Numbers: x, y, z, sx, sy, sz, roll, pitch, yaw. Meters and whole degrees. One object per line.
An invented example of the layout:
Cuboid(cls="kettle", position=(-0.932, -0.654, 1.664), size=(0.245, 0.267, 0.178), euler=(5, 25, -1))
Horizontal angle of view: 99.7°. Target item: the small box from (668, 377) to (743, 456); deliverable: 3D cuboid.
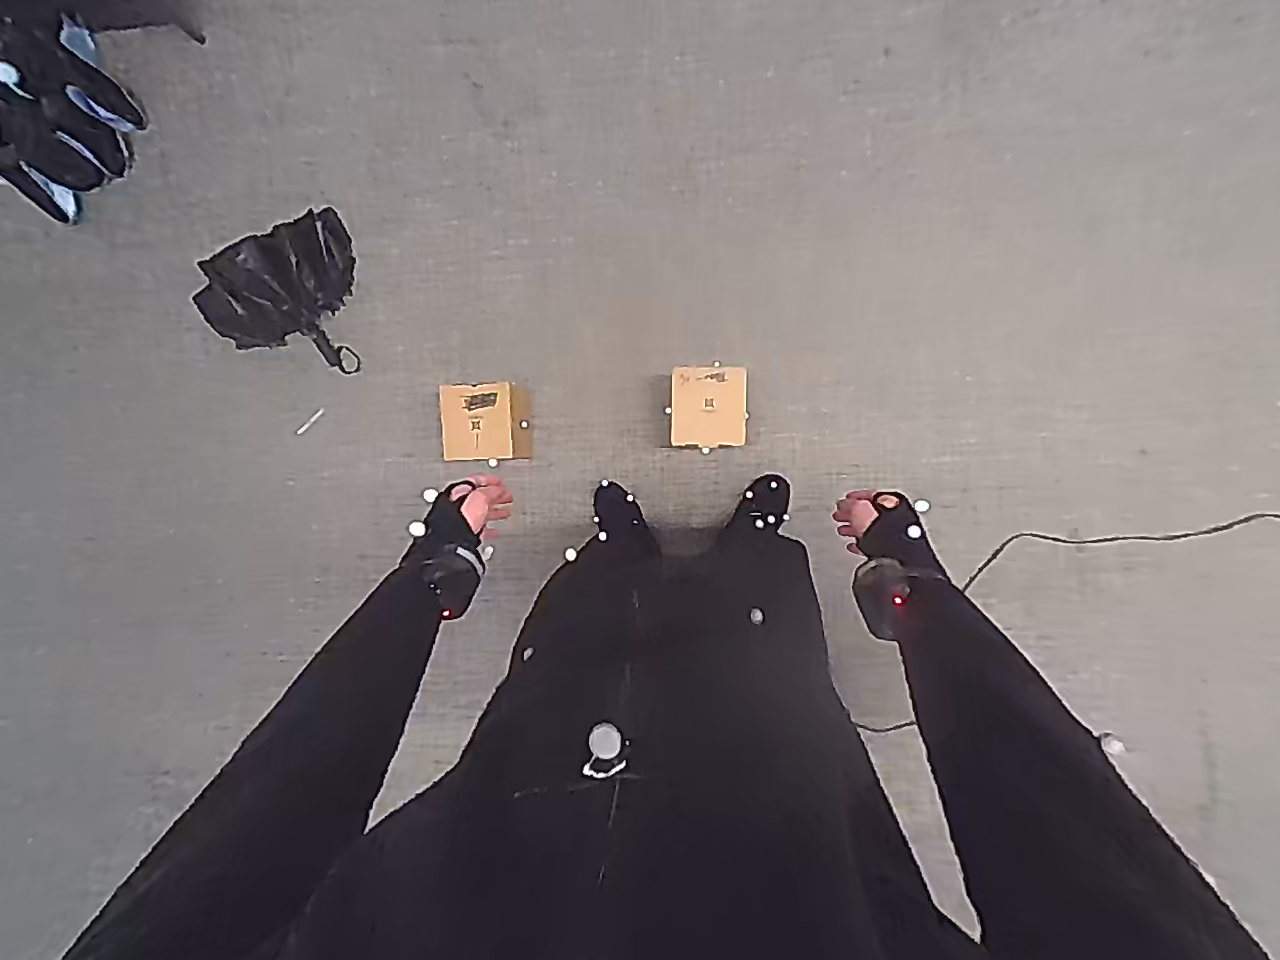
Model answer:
Cuboid(cls="small box", position=(0.155, -0.149, 1.289), size=(0.168, 0.176, 0.179), euler=(0, 94, 5))

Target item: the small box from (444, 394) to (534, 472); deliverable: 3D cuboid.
Cuboid(cls="small box", position=(-0.366, -0.113, 1.333), size=(0.168, 0.176, 0.179), euler=(-3, 94, 5))
